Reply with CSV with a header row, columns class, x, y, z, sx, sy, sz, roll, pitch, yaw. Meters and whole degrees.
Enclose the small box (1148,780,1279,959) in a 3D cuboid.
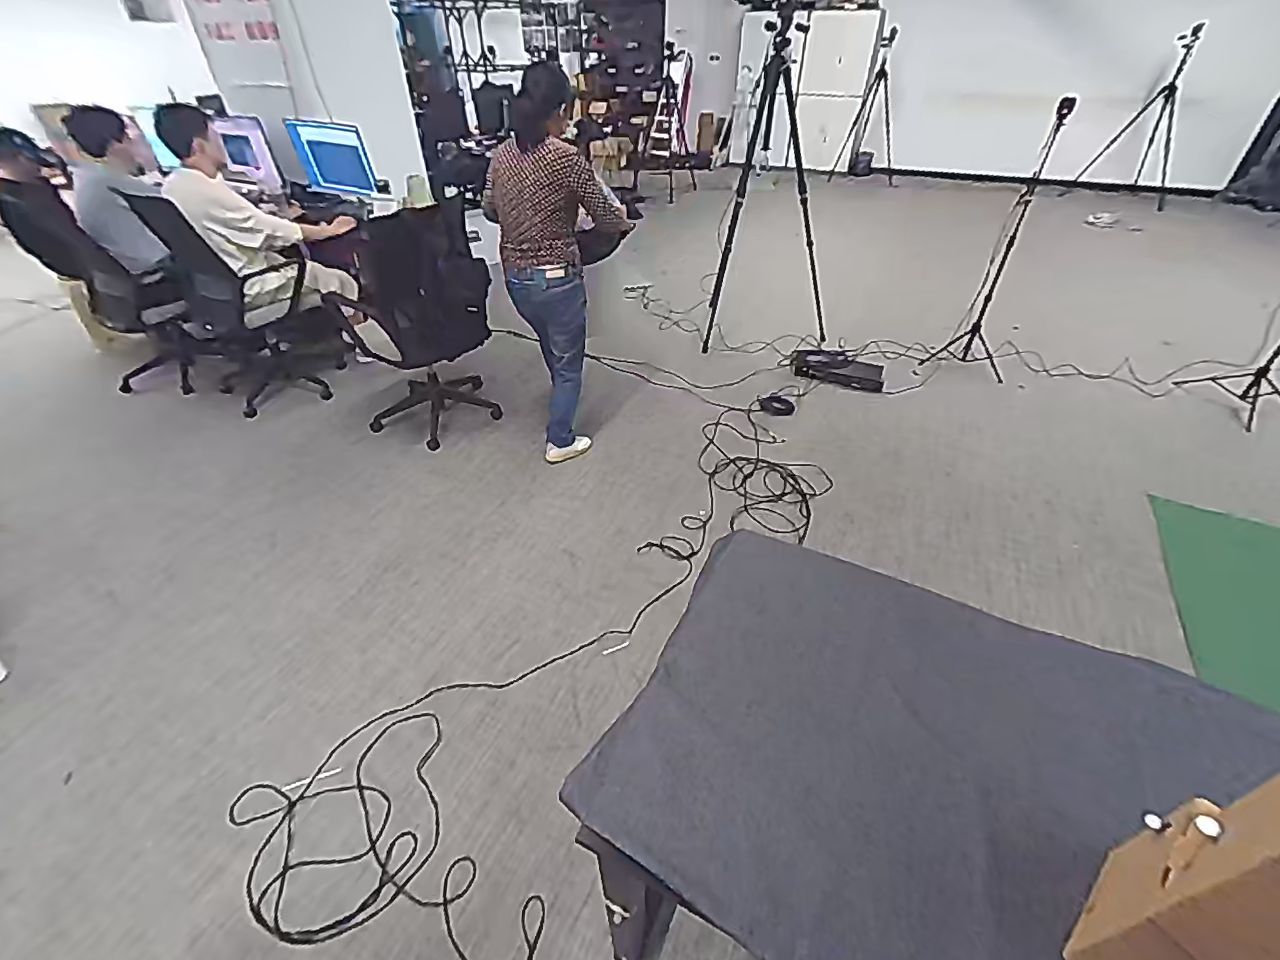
class,x,y,z,sx,sy,sz,roll,pitch,yaw
small box,0.572,0.353,0.419,0.168,0.176,0.179,-20,42,-25
